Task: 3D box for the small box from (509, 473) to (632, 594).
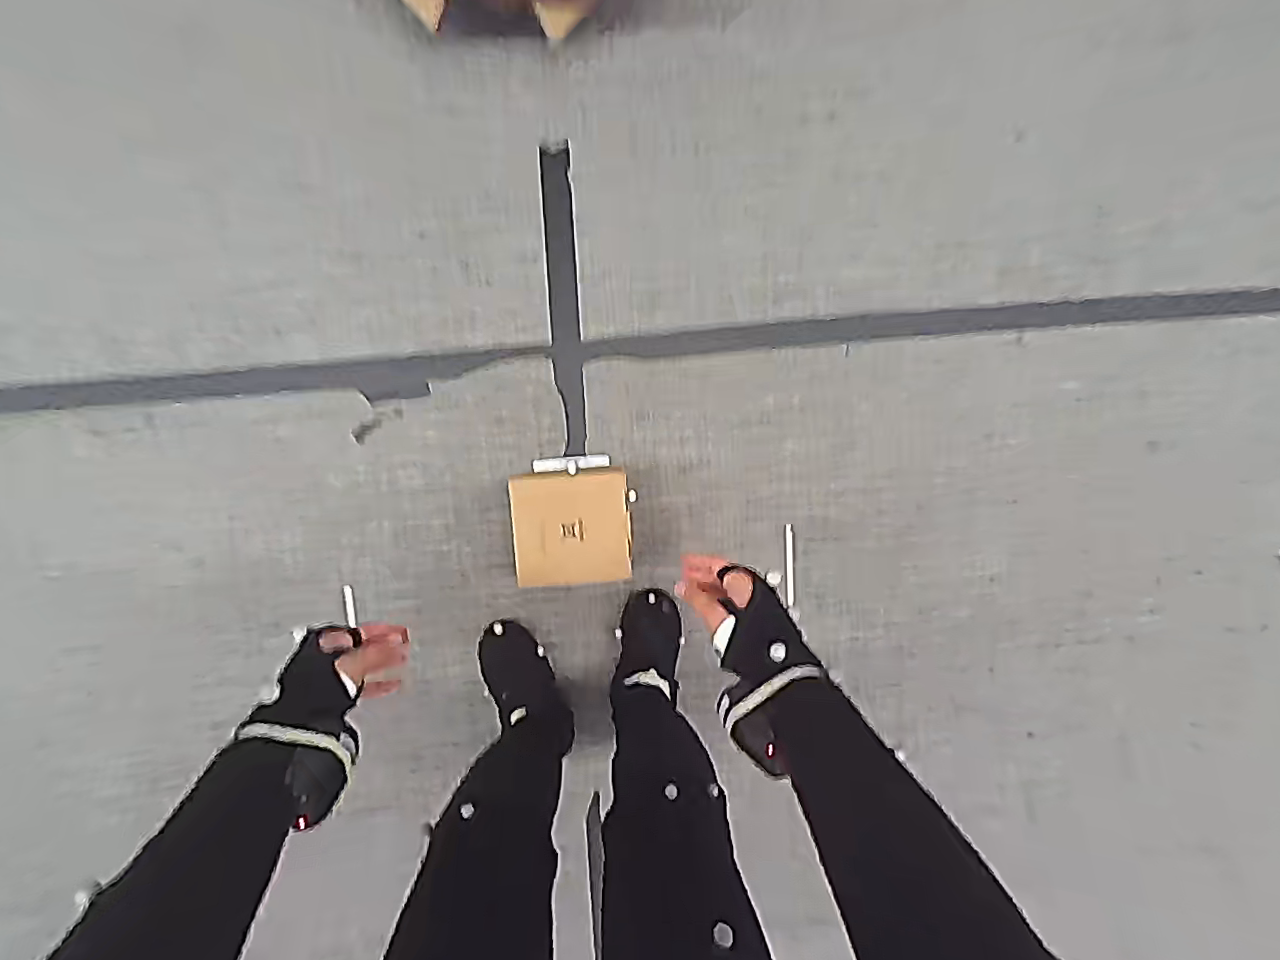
[{"bbox_3d":[-0.109,0.080,0.900,0.179,0.176,0.168,-5,94,-2],"label":"small box"}]
